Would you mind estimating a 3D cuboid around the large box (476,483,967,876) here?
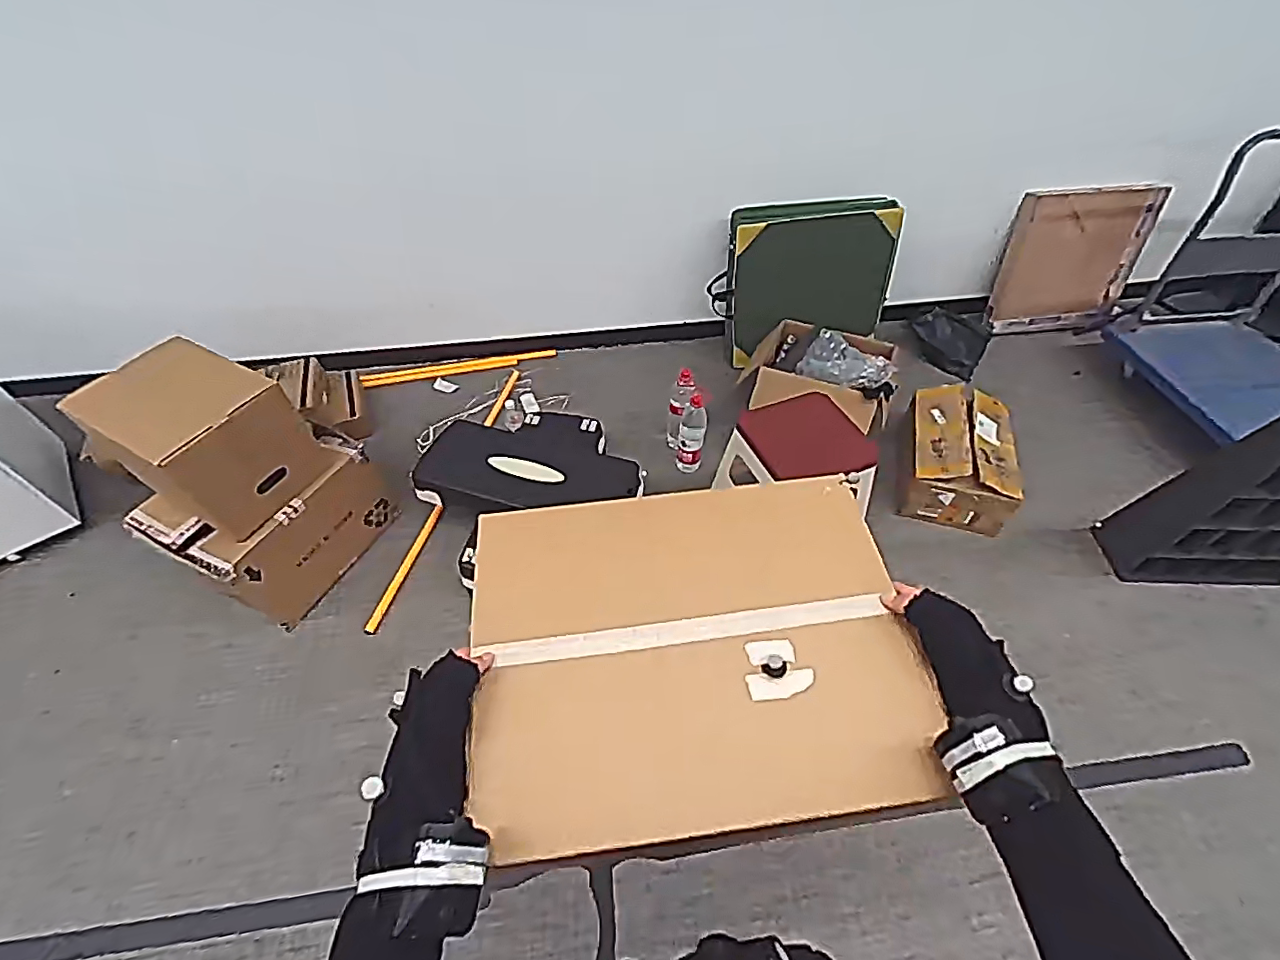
[{"bbox_3d":[0.051,0.236,0.627,0.408,0.320,0.320,-6,54,-4],"label":"large box"}]
